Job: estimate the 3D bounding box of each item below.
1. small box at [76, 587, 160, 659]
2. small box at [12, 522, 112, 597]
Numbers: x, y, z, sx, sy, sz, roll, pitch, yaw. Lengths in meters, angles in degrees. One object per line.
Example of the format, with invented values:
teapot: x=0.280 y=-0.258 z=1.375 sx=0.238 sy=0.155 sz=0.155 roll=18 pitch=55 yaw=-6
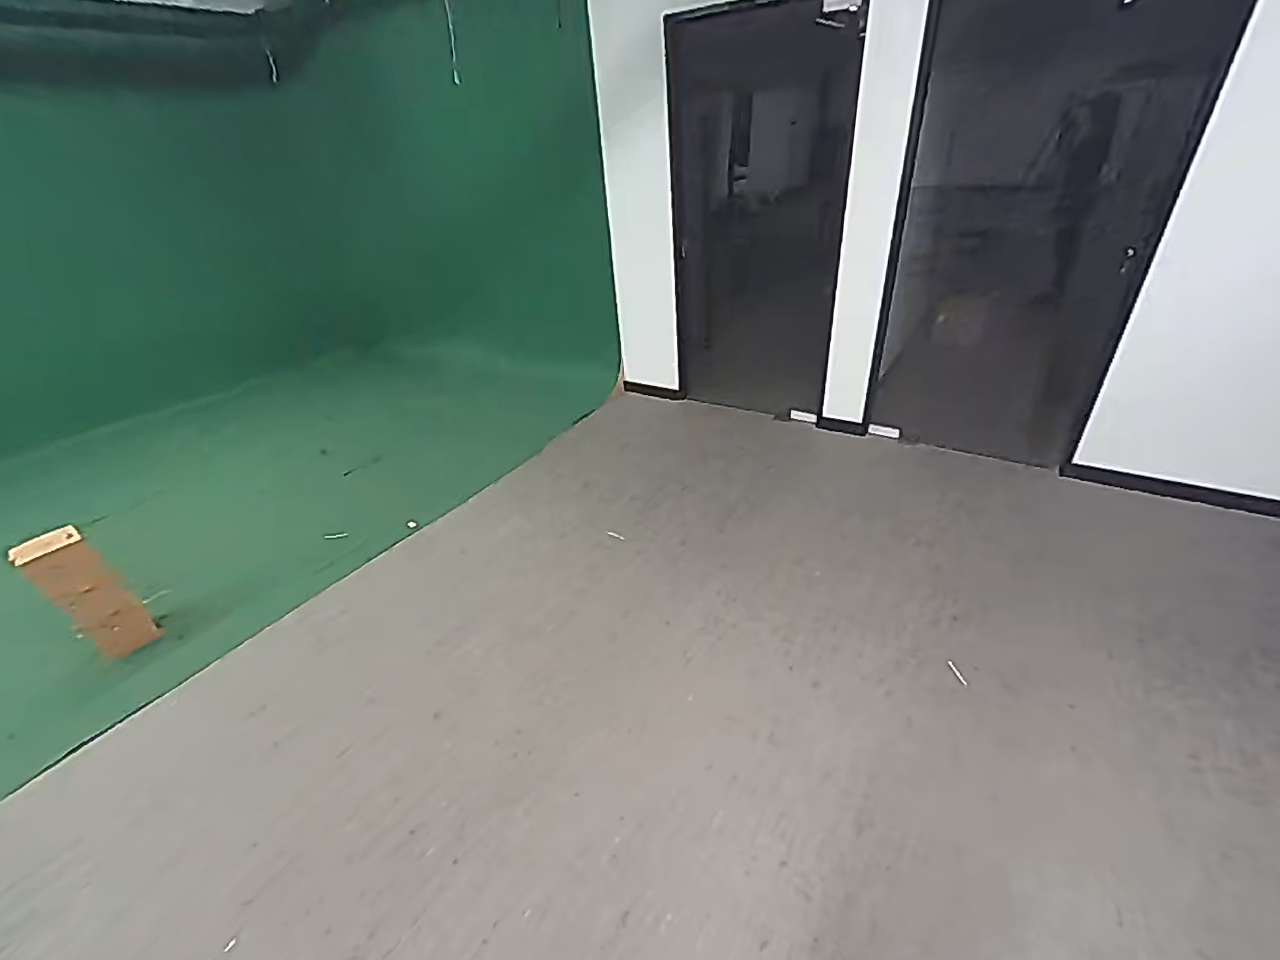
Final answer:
small box: x=-2.024 y=0.557 z=2.109 sx=0.168 sy=0.176 sz=0.179 roll=20 pitch=40 yaw=33
small box: x=-2.054 y=0.285 z=1.927 sx=0.168 sy=0.176 sz=0.179 roll=18 pitch=40 yaw=33
